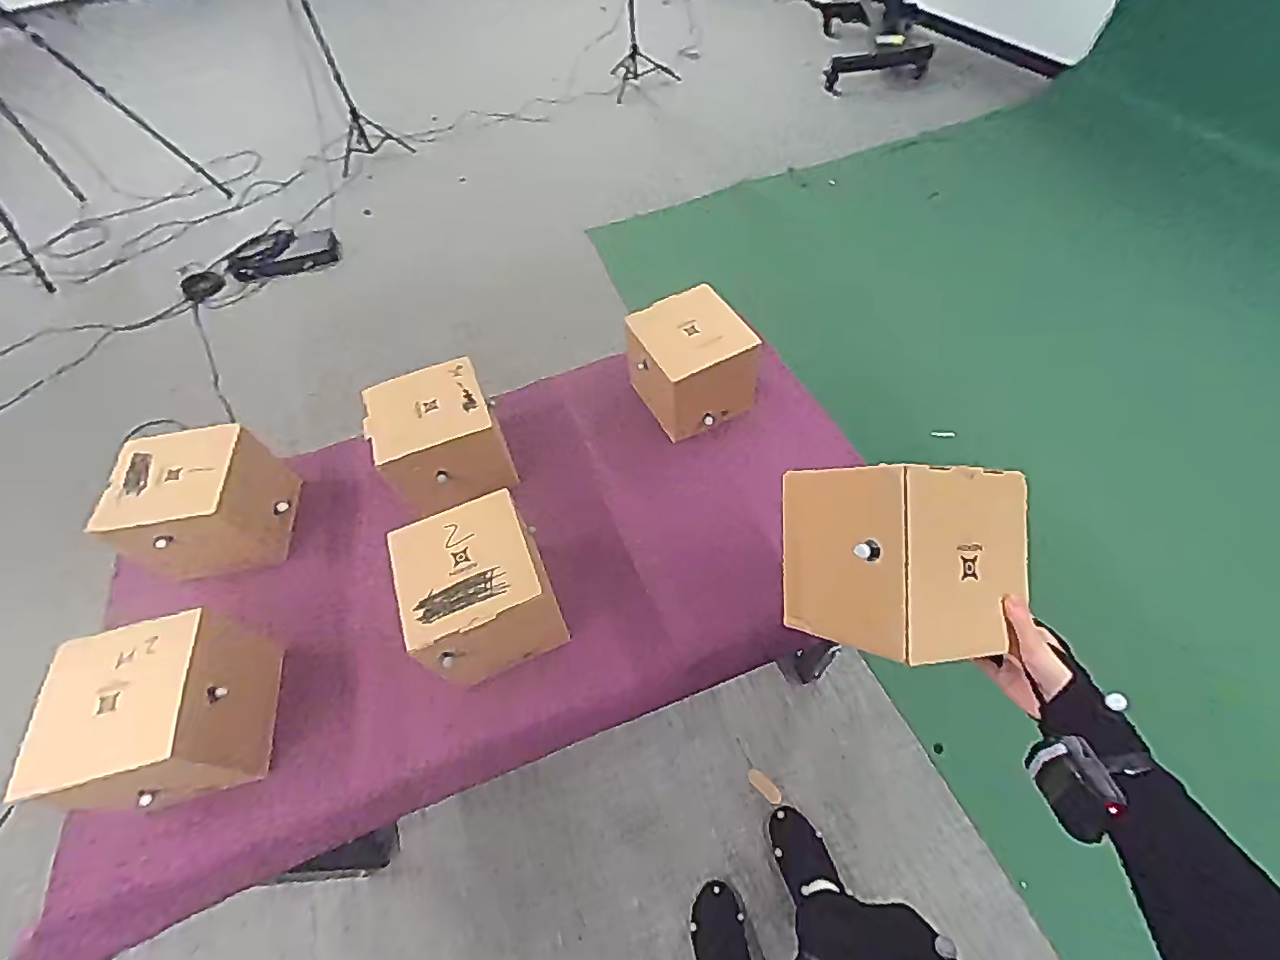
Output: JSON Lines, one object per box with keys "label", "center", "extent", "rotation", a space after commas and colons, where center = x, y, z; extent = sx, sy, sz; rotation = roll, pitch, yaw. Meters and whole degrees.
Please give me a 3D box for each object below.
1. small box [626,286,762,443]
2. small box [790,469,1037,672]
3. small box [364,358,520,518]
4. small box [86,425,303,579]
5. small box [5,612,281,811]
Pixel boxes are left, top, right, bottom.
{"label": "small box", "center": [0.089, -0.198, 0.946], "extent": [0.168, 0.176, 0.179], "rotation": [-25, 59, -10]}
{"label": "small box", "center": [0.274, 0.084, 0.565], "extent": [0.168, 0.176, 0.179], "rotation": [3, 86, -23]}
{"label": "small box", "center": [-0.318, -0.063, 0.887], "extent": [0.179, 0.176, 0.168], "rotation": [-21, 59, -9]}
{"label": "small box", "center": [-0.672, 0.040, 0.842], "extent": [0.179, 0.176, 0.168], "rotation": [-10, 57, -4]}
{"label": "small box", "center": [-0.579, 0.290, 0.665], "extent": [0.168, 0.176, 0.179], "rotation": [-14, 55, -6]}
